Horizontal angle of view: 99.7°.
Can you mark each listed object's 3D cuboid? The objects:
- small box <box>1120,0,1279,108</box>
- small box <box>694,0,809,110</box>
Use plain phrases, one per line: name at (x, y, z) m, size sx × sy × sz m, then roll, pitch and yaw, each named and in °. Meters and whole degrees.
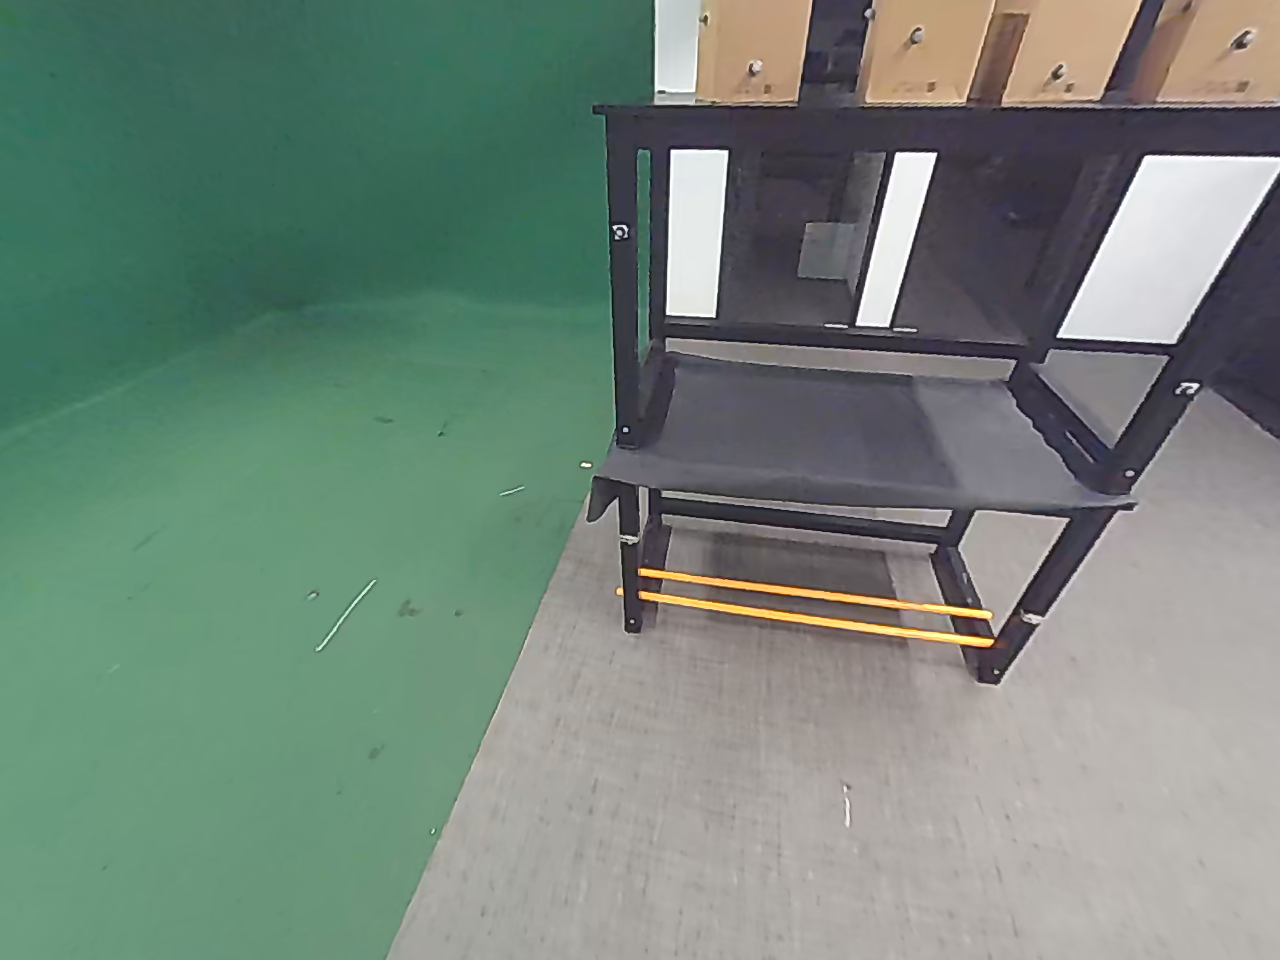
small box at (0.949, -0.718, 0.891) m, size 0.168 × 0.176 × 0.179 m, roll 13°, pitch 39°, yaw 17°
small box at (0.198, -0.805, 1.016) m, size 0.168 × 0.176 × 0.179 m, roll -3°, pitch 38°, yaw -4°
